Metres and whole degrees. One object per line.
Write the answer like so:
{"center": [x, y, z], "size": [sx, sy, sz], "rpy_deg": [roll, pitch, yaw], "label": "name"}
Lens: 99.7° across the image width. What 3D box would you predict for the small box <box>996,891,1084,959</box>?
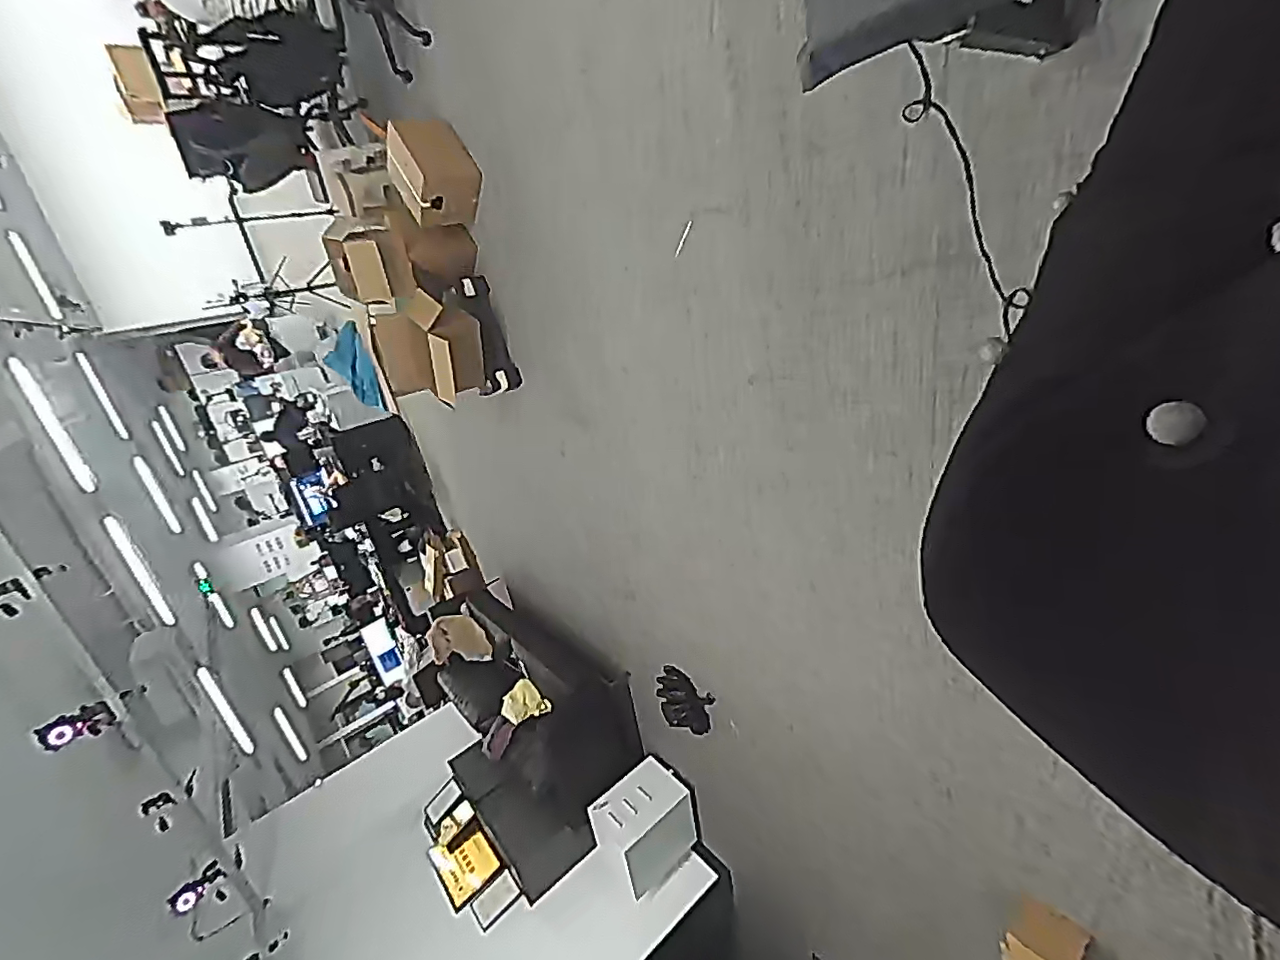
{"center": [1.299, 1.493, 1.758], "size": [0.179, 0.176, 0.168], "rpy_deg": [22, 128, 48], "label": "small box"}
